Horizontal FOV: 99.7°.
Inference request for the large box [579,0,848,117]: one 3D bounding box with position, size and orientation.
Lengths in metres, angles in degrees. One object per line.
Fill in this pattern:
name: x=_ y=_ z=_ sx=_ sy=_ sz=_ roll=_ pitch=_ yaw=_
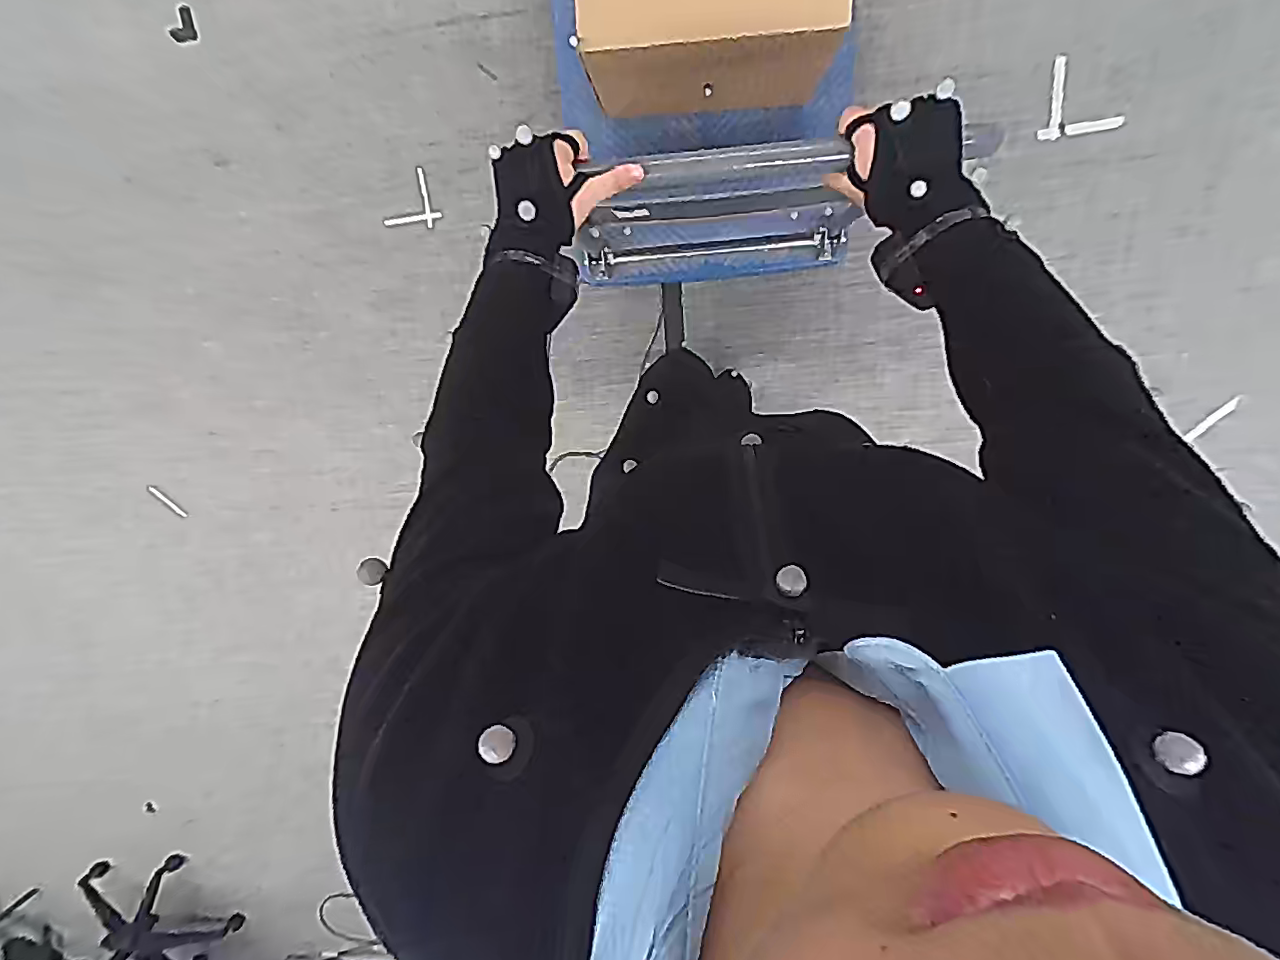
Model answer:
large box: x=0.116 y=-0.855 z=0.914 sx=0.408 sy=0.320 sz=0.320 roll=-1 pitch=106 yaw=6
